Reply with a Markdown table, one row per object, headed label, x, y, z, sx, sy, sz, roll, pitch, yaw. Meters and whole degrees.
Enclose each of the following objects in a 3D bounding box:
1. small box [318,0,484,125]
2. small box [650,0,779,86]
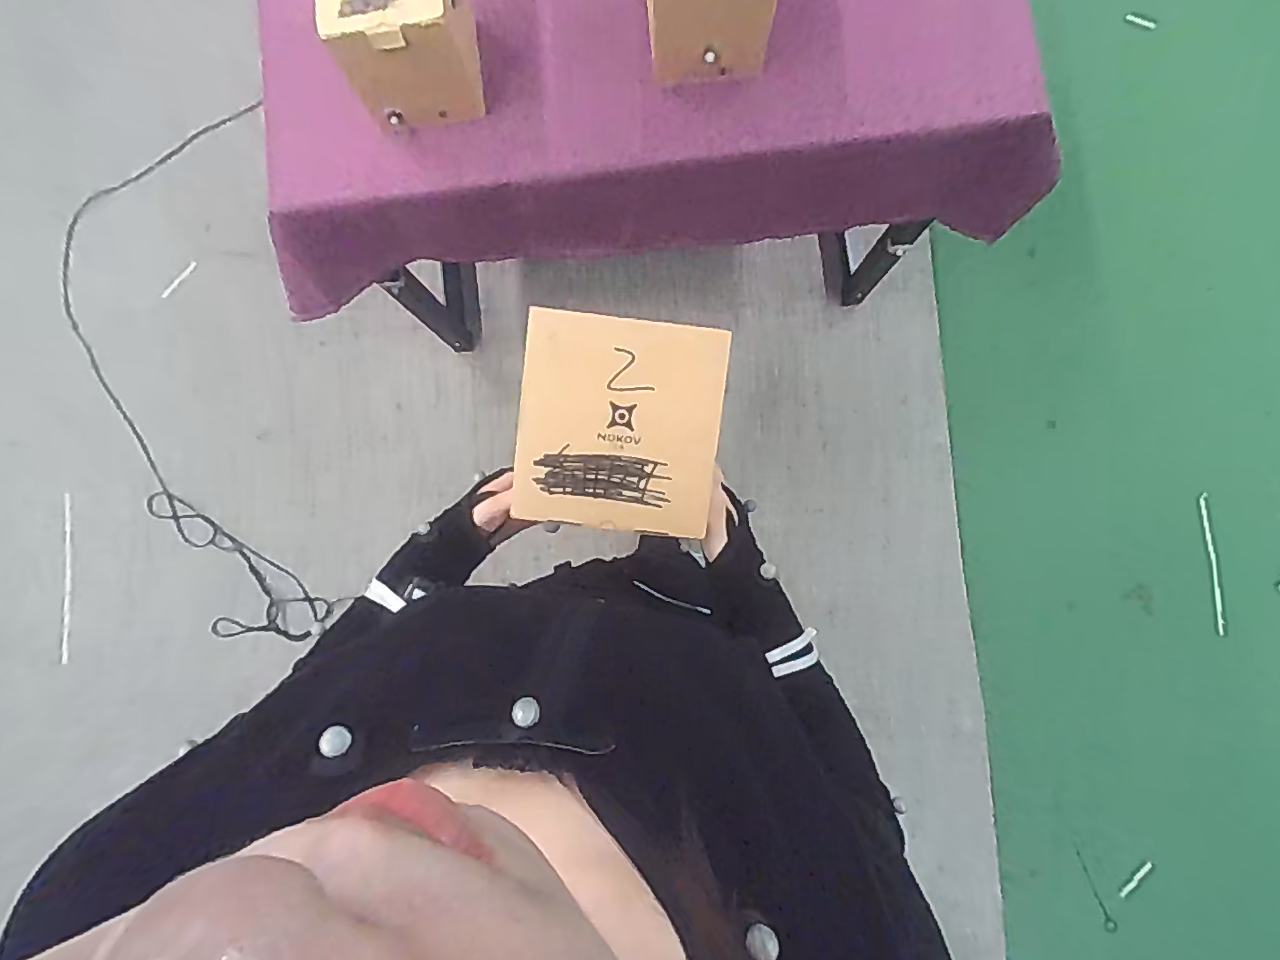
| label | x | y | z | sx | sy | sz | roll | pitch | yaw |
| --- | --- | --- | --- | --- | --- | --- | --- | --- | --- |
| small box | -0.331 | -0.644 | 0.773 | 0.168 | 0.176 | 0.179 | -7 | 84 | 1 |
| small box | 0.098 | -0.706 | 0.763 | 0.168 | 0.176 | 0.179 | -4 | 85 | 2 |
